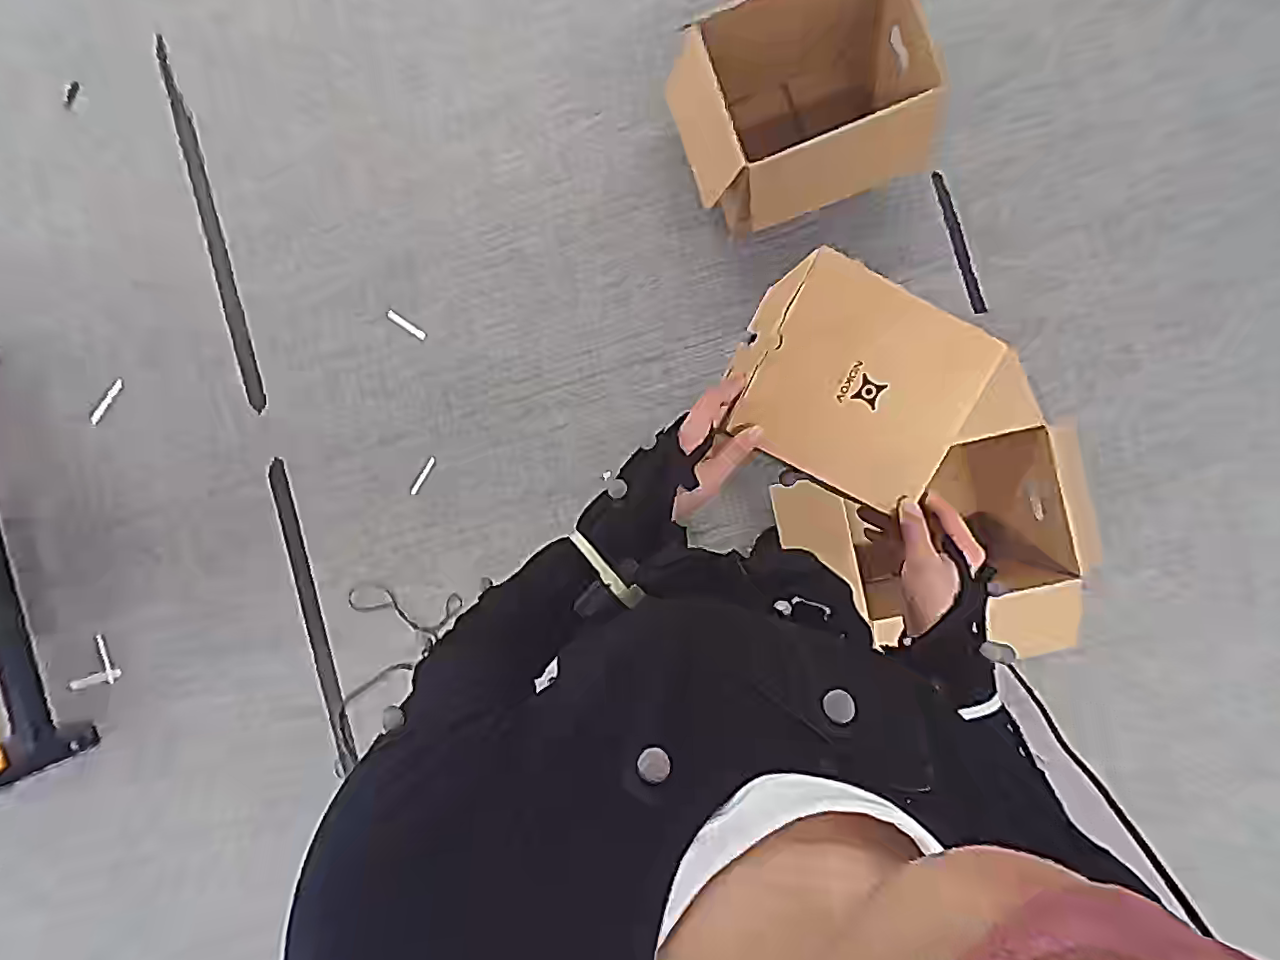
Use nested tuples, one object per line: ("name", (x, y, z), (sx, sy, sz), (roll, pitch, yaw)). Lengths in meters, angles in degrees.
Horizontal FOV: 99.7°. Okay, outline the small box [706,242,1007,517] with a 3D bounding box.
("small box", (0.179, -0.089, 0.511), (0.179, 0.176, 0.168), (26, 98, -3))
